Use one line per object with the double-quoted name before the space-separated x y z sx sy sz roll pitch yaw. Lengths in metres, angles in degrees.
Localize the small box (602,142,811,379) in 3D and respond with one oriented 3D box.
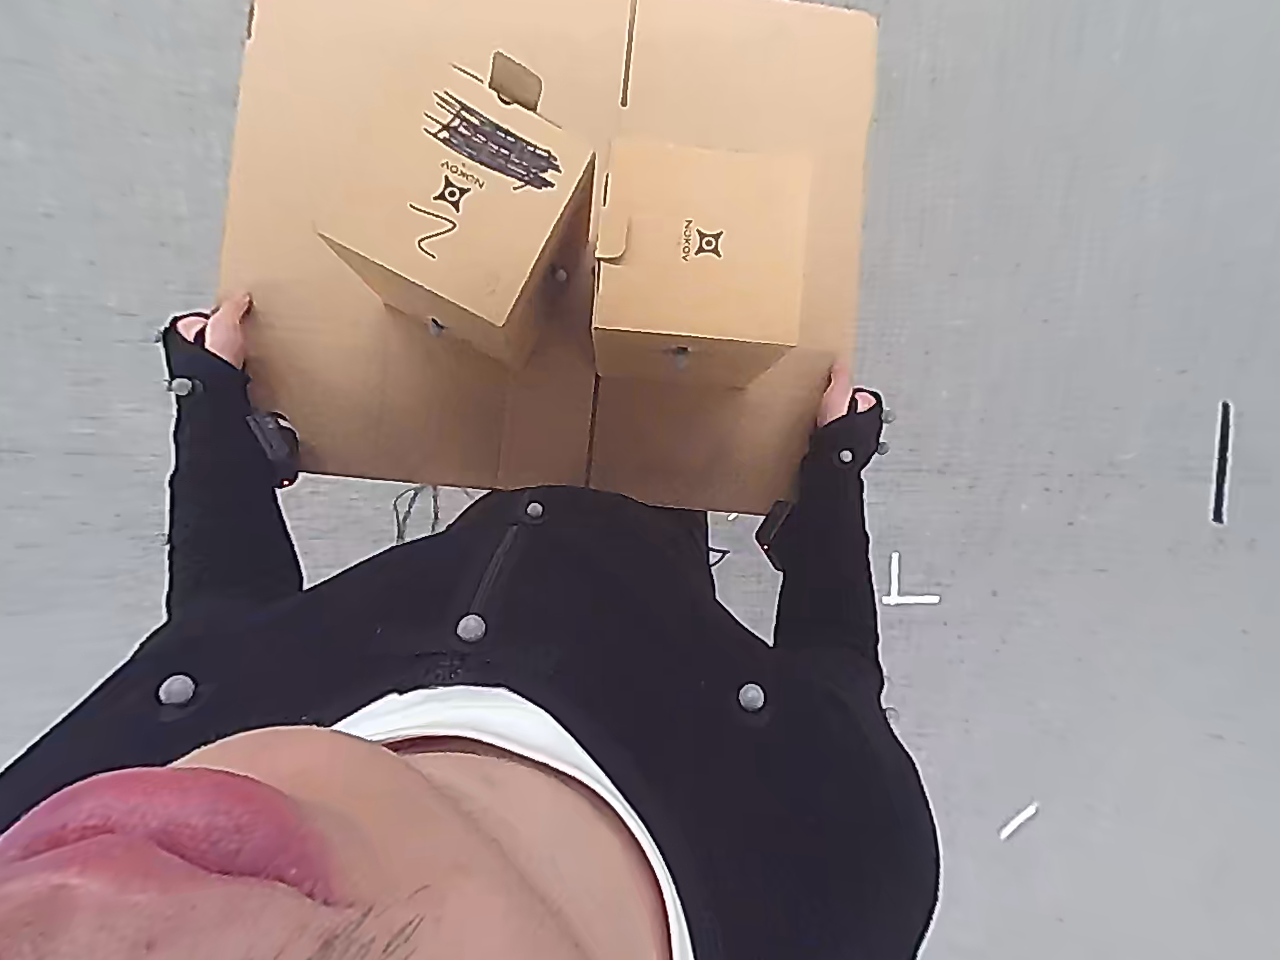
"small box" 0.055 -0.204 0.552 0.179 0.176 0.168 4 88 -2
